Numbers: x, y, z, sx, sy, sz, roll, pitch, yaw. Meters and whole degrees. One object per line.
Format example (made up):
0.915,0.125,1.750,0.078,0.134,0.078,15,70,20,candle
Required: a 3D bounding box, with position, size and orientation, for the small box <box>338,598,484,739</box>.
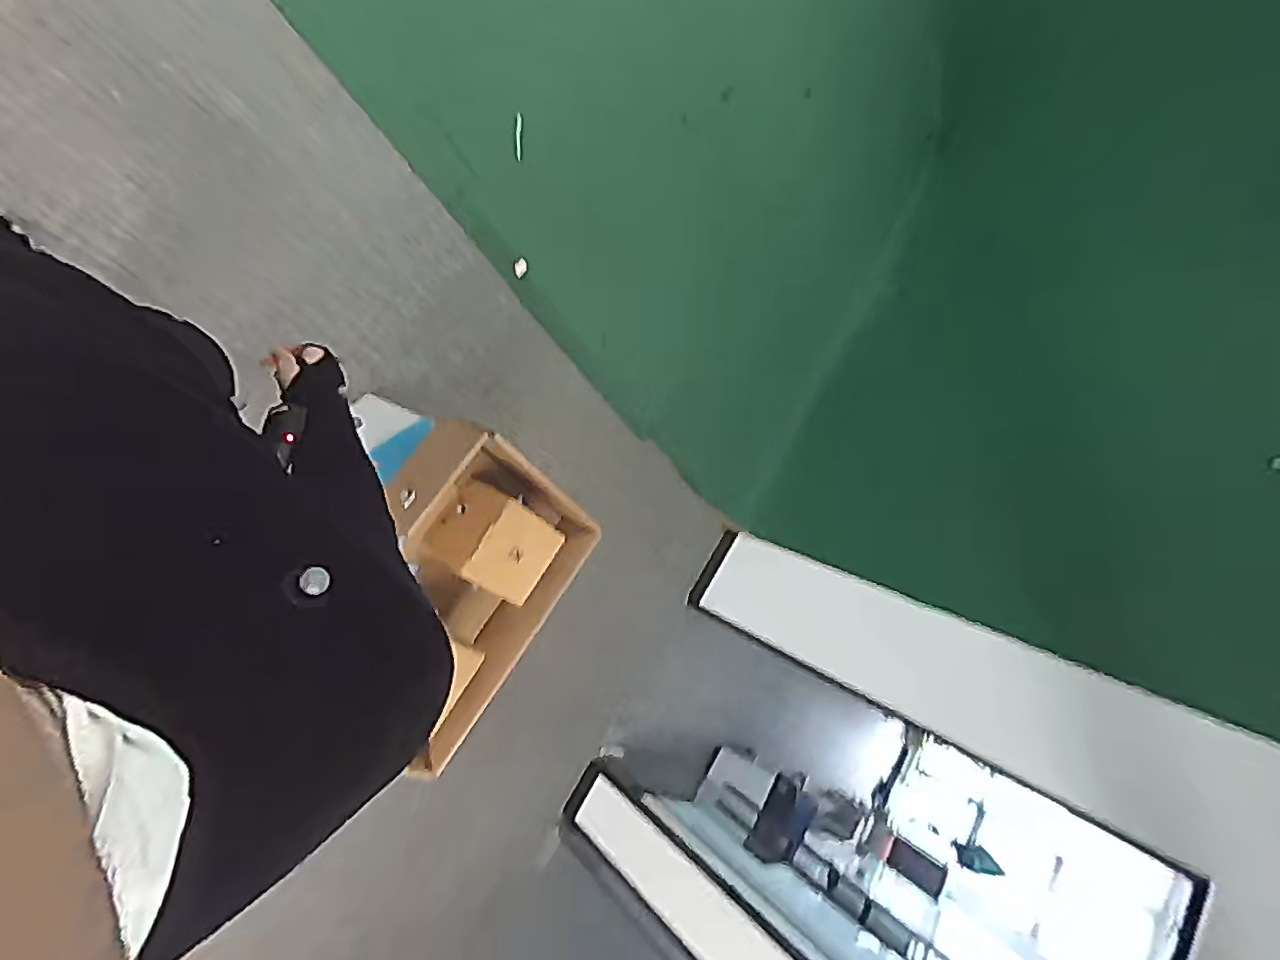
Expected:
-0.445,0.357,1.038,0.179,0.176,0.168,-58,138,-15,small box
